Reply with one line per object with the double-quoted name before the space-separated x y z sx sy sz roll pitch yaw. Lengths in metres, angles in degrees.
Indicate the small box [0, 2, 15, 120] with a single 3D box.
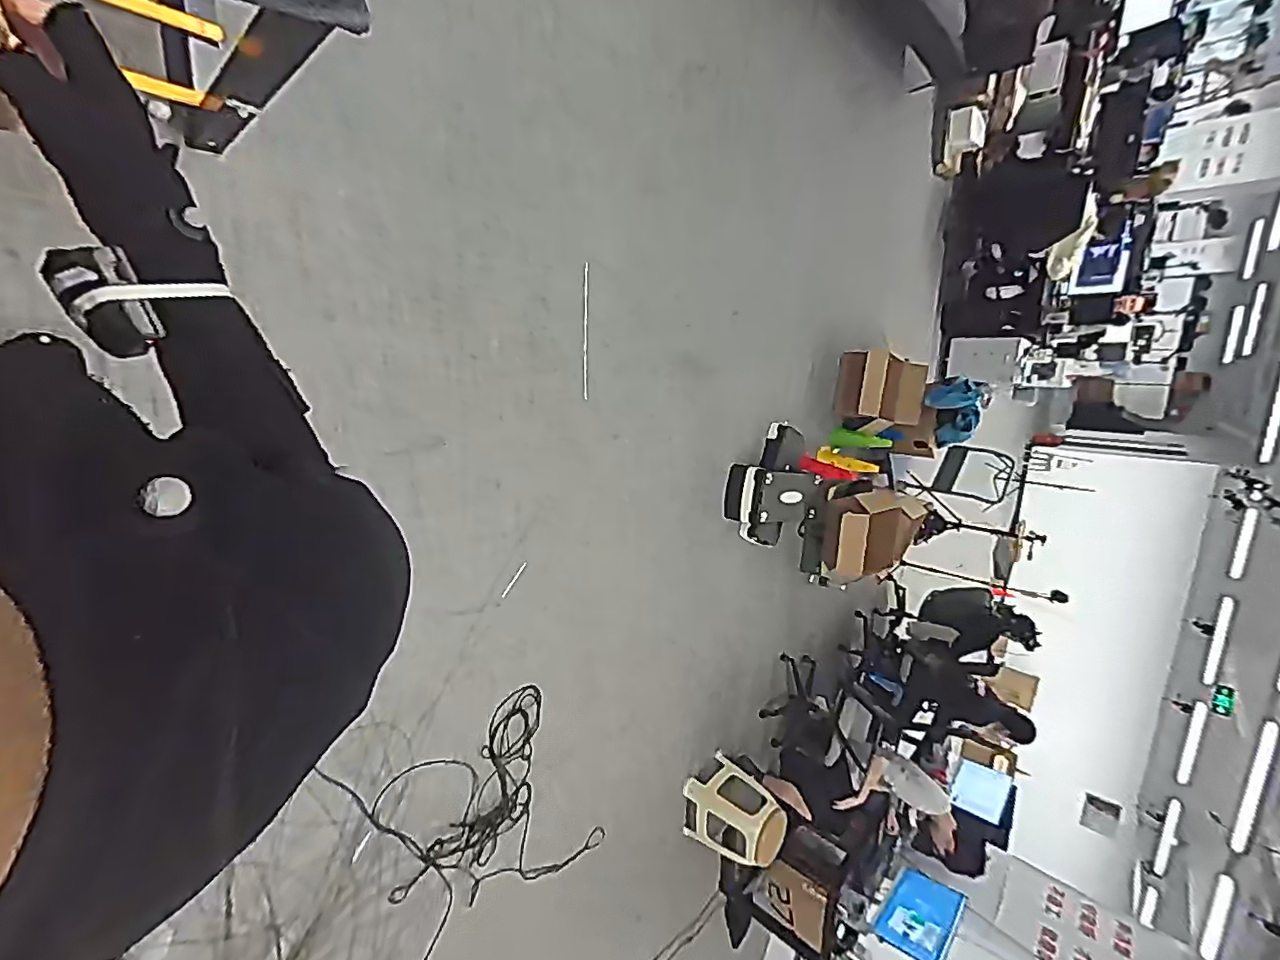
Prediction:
"small box" -0.502 -0.338 0.299 0.168 0.176 0.179 -23 110 -43
